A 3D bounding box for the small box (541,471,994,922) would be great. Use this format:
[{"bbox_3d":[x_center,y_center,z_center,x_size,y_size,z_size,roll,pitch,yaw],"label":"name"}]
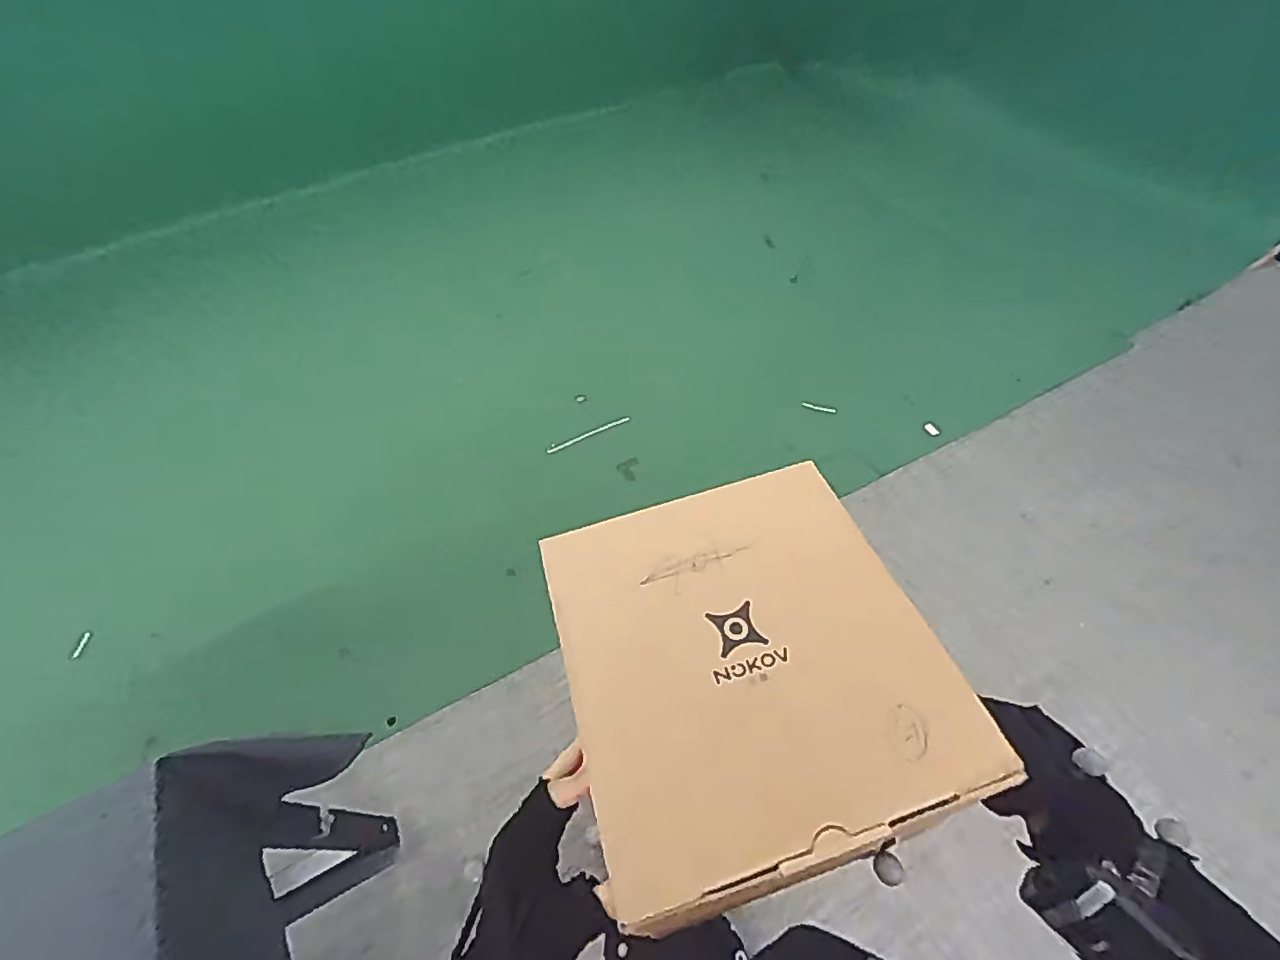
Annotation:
[{"bbox_3d":[0.051,0.128,0.321,0.168,0.176,0.179,-16,50,-6],"label":"small box"}]
